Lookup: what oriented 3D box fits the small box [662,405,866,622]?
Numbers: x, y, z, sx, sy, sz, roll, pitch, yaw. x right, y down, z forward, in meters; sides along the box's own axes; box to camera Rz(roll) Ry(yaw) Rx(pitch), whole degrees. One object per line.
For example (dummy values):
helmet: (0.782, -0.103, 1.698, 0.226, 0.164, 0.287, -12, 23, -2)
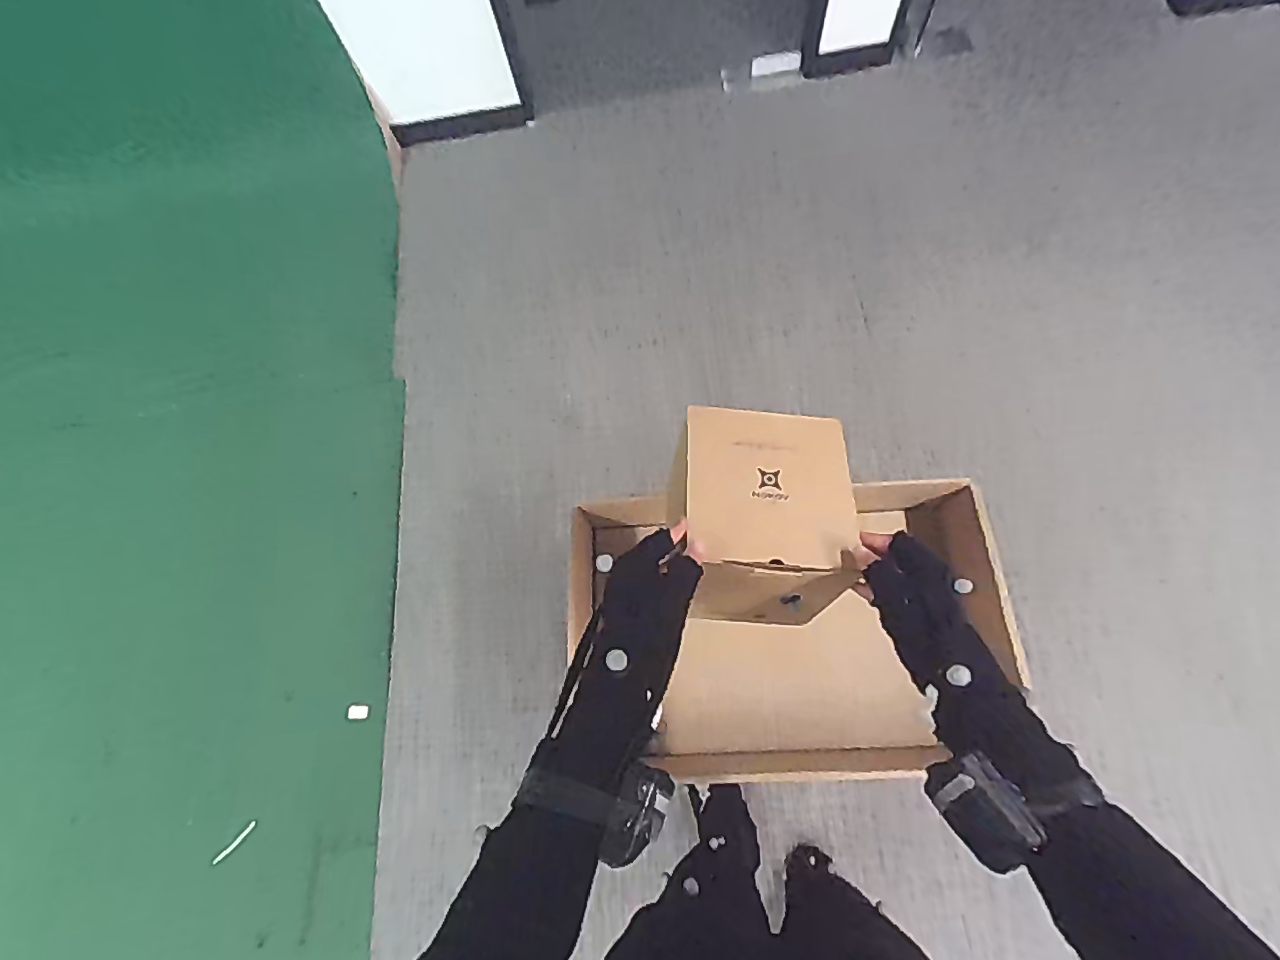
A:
small box: (0.117, 0.044, 0.586, 0.168, 0.176, 0.179, 5, 58, -4)
